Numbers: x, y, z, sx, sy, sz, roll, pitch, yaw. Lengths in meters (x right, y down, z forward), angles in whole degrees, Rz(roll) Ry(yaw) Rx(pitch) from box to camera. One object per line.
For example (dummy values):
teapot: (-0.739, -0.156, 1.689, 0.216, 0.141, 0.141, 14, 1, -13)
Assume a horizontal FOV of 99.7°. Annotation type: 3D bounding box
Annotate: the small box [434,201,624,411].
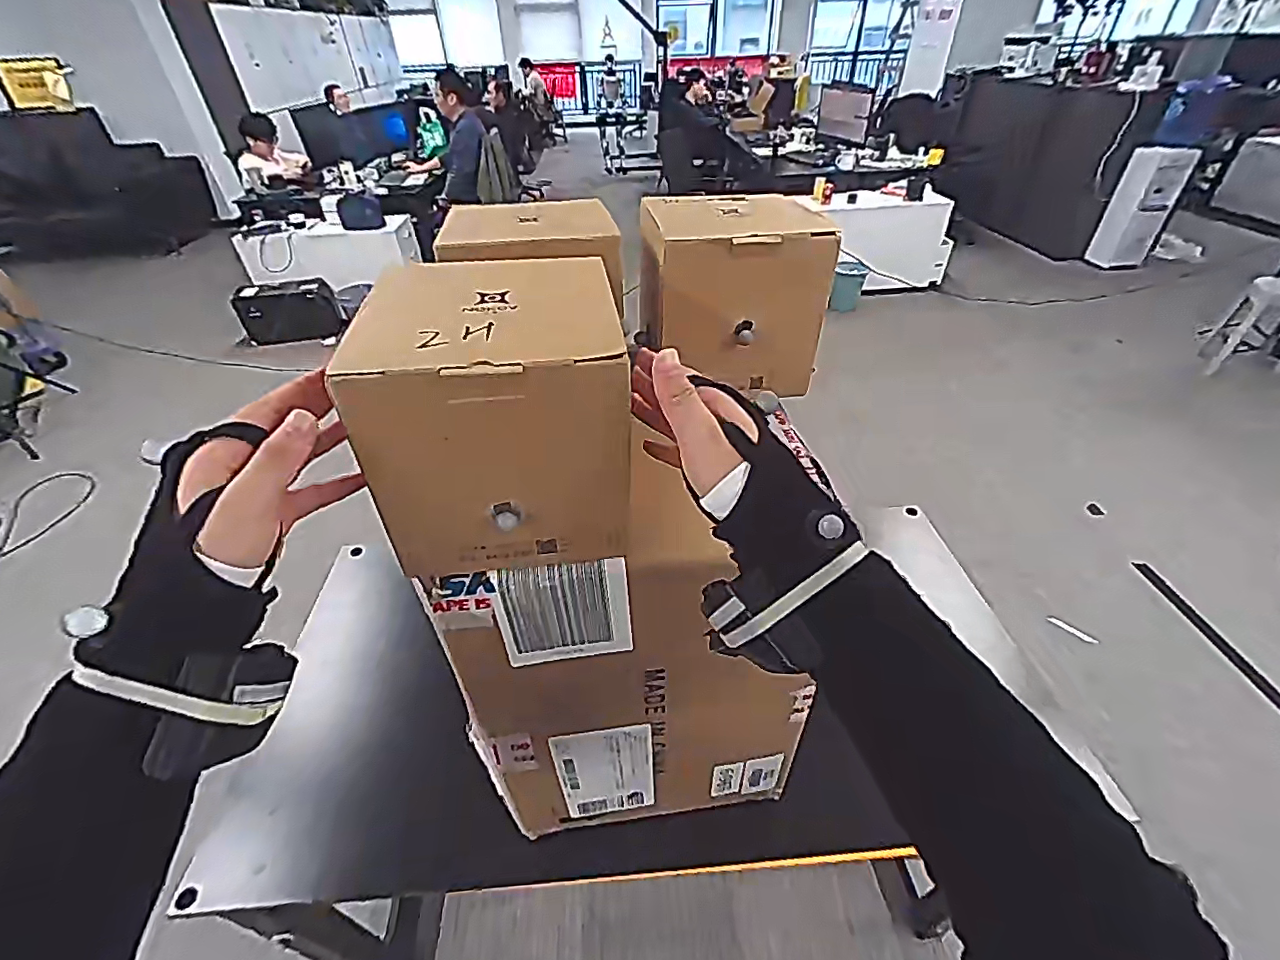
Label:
small box: (-0.112, -0.194, 0.593, 0.168, 0.176, 0.179, -8, 39, -7)
